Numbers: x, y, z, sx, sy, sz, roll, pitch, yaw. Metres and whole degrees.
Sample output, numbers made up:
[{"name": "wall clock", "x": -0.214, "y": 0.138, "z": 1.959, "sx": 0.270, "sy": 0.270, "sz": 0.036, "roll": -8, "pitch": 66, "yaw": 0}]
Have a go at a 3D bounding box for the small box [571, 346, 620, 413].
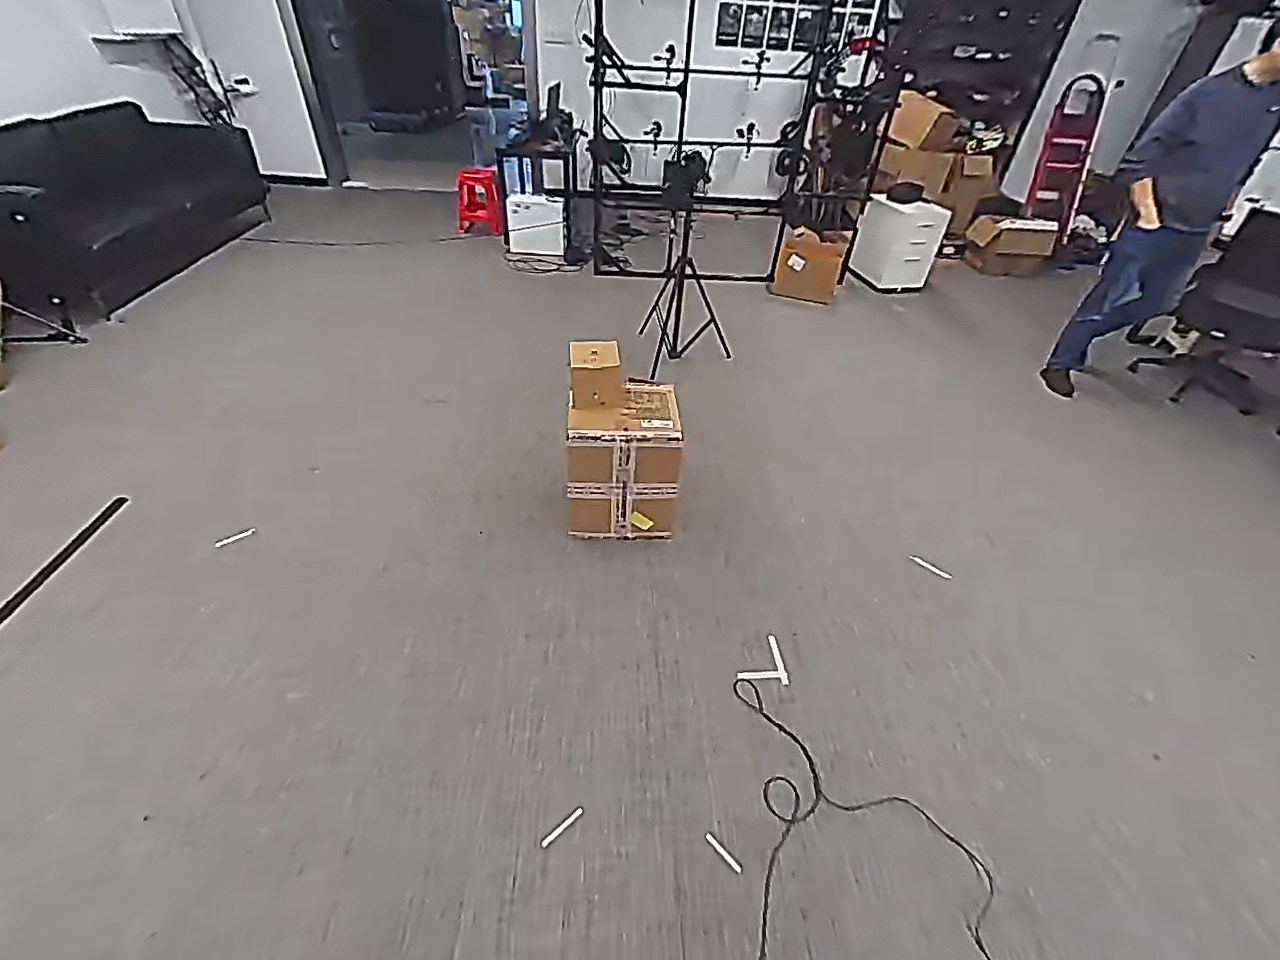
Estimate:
[{"name": "small box", "x": -0.157, "y": -0.353, "z": 1.902, "sx": 0.168, "sy": 0.176, "sz": 0.179, "roll": -4, "pitch": 43, "yaw": -5}]
